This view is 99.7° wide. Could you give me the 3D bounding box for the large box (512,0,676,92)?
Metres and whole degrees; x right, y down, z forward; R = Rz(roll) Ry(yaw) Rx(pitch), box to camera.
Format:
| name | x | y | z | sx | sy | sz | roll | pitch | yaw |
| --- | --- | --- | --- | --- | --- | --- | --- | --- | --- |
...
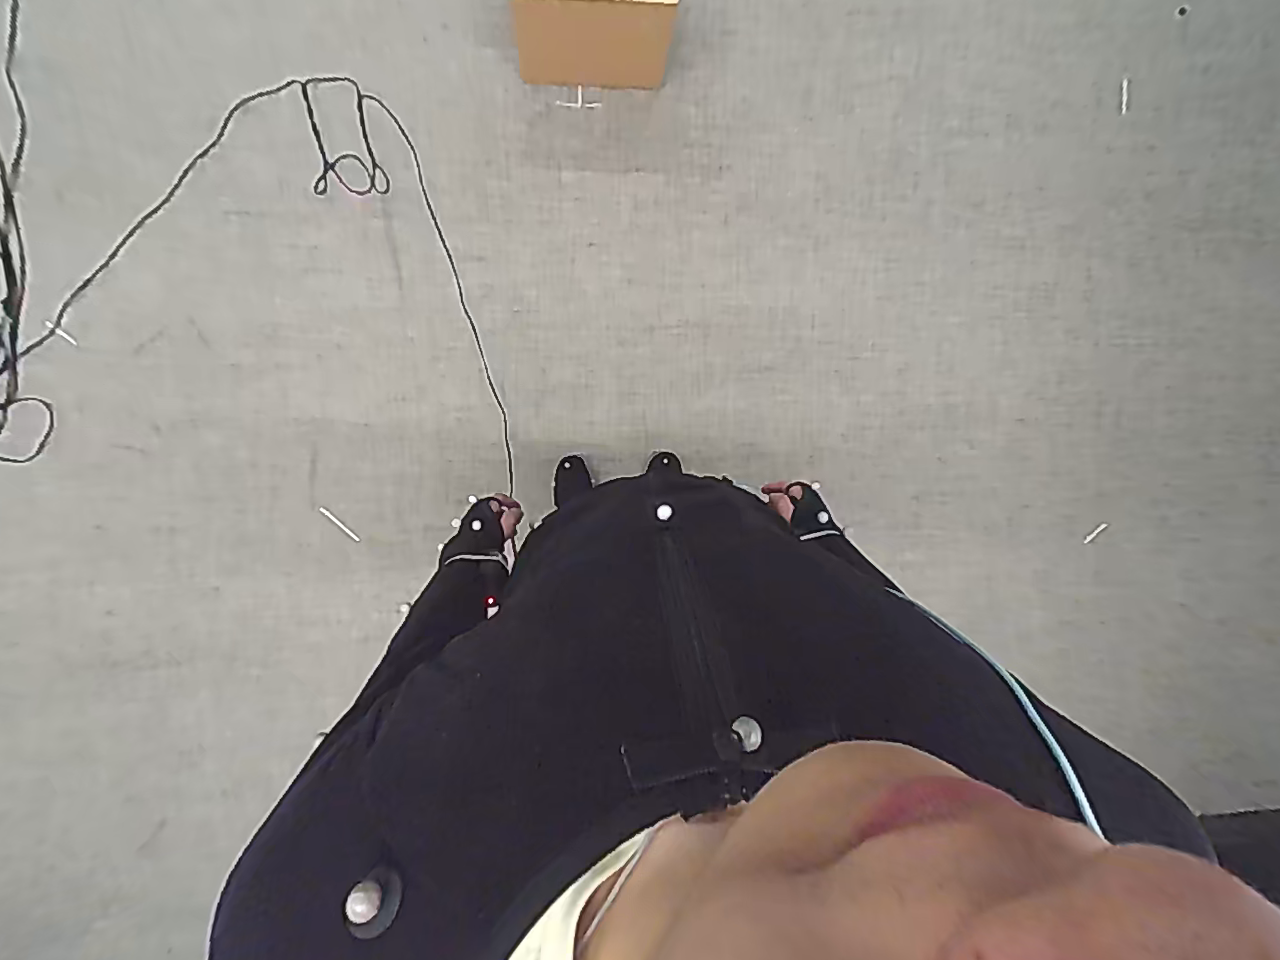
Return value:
| name | x | y | z | sx | sy | sz | roll | pitch | yaw |
| --- | --- | --- | --- | --- | --- | --- | --- | --- | --- |
| large box | -0.134 | -1.291 | 1.443 | 0.408 | 0.320 | 0.320 | -3 | 93 | -6 |
